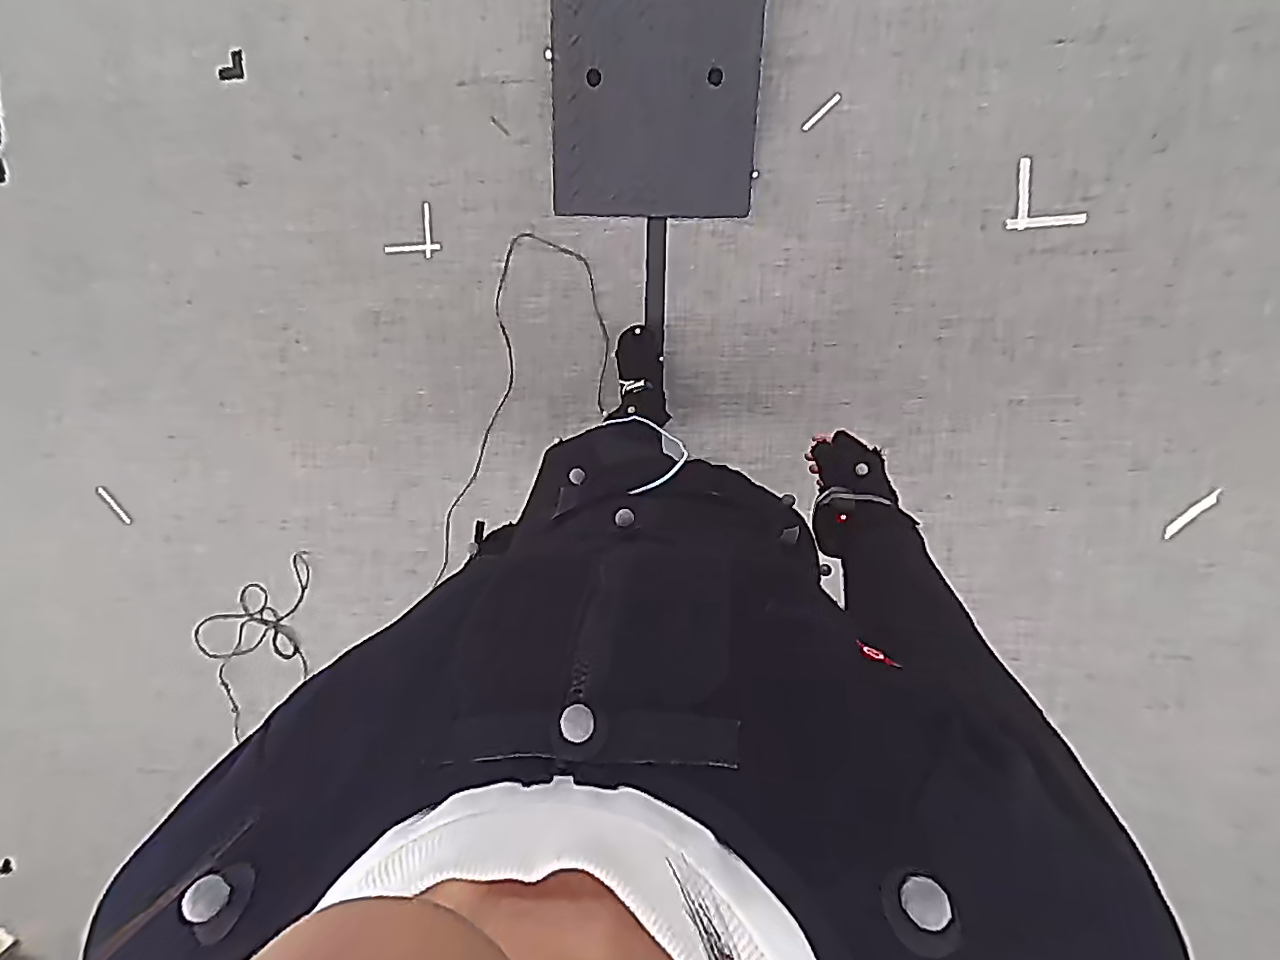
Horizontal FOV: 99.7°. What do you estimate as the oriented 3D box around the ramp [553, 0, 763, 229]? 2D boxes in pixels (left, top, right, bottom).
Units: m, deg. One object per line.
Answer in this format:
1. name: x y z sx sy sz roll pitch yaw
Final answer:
1. ramp: 0.040 -1.123 1.240 0.509 0.206 0.991 0 96 5
